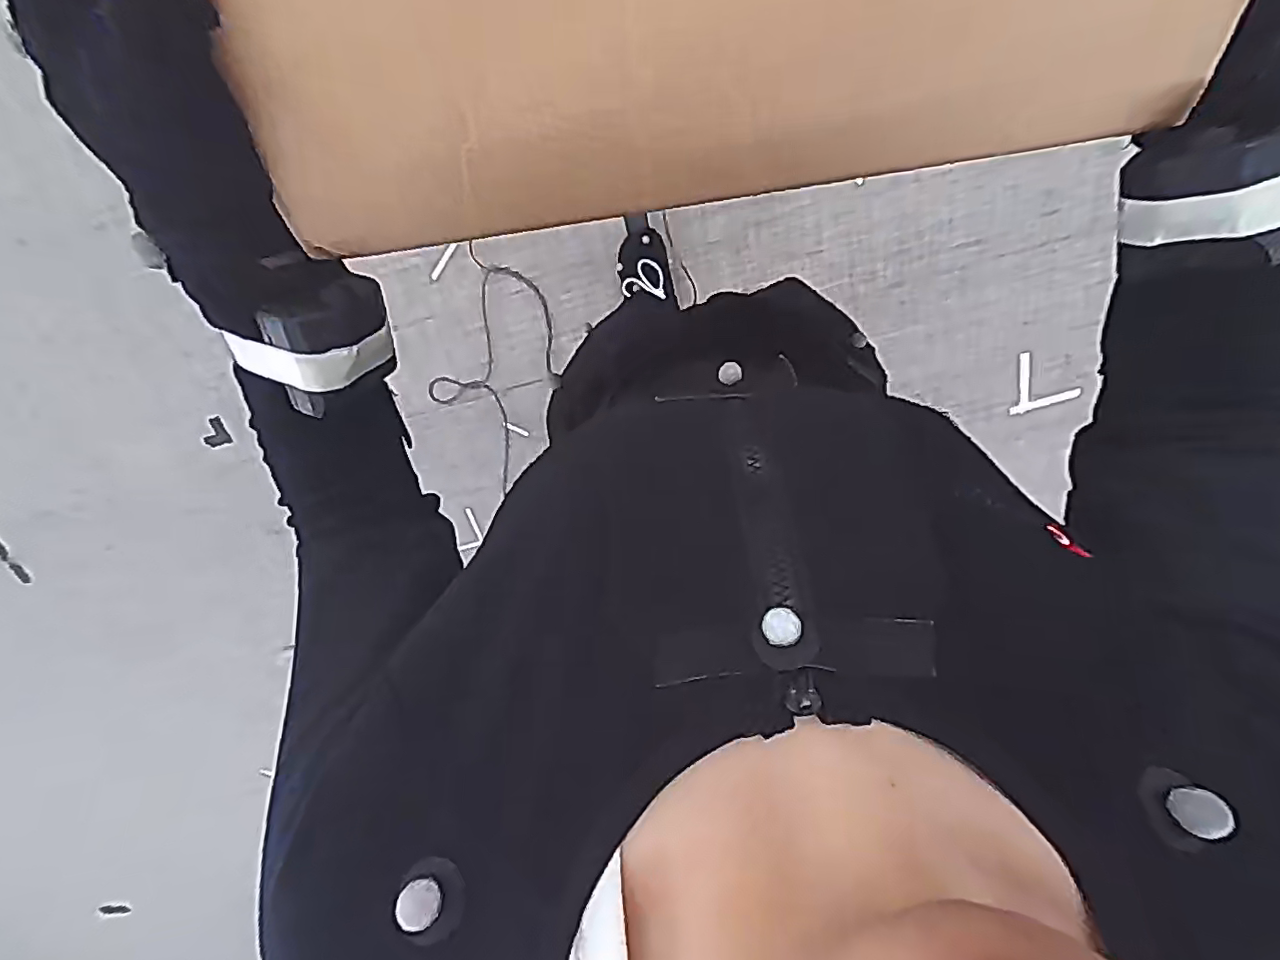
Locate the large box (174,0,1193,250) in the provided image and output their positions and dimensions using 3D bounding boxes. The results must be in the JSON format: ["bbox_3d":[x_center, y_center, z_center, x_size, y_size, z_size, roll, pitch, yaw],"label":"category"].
[{"bbox_3d":[0.008,-0.353,0.249,0.408,0.320,0.320,-8,136,2],"label":"large box"}]
